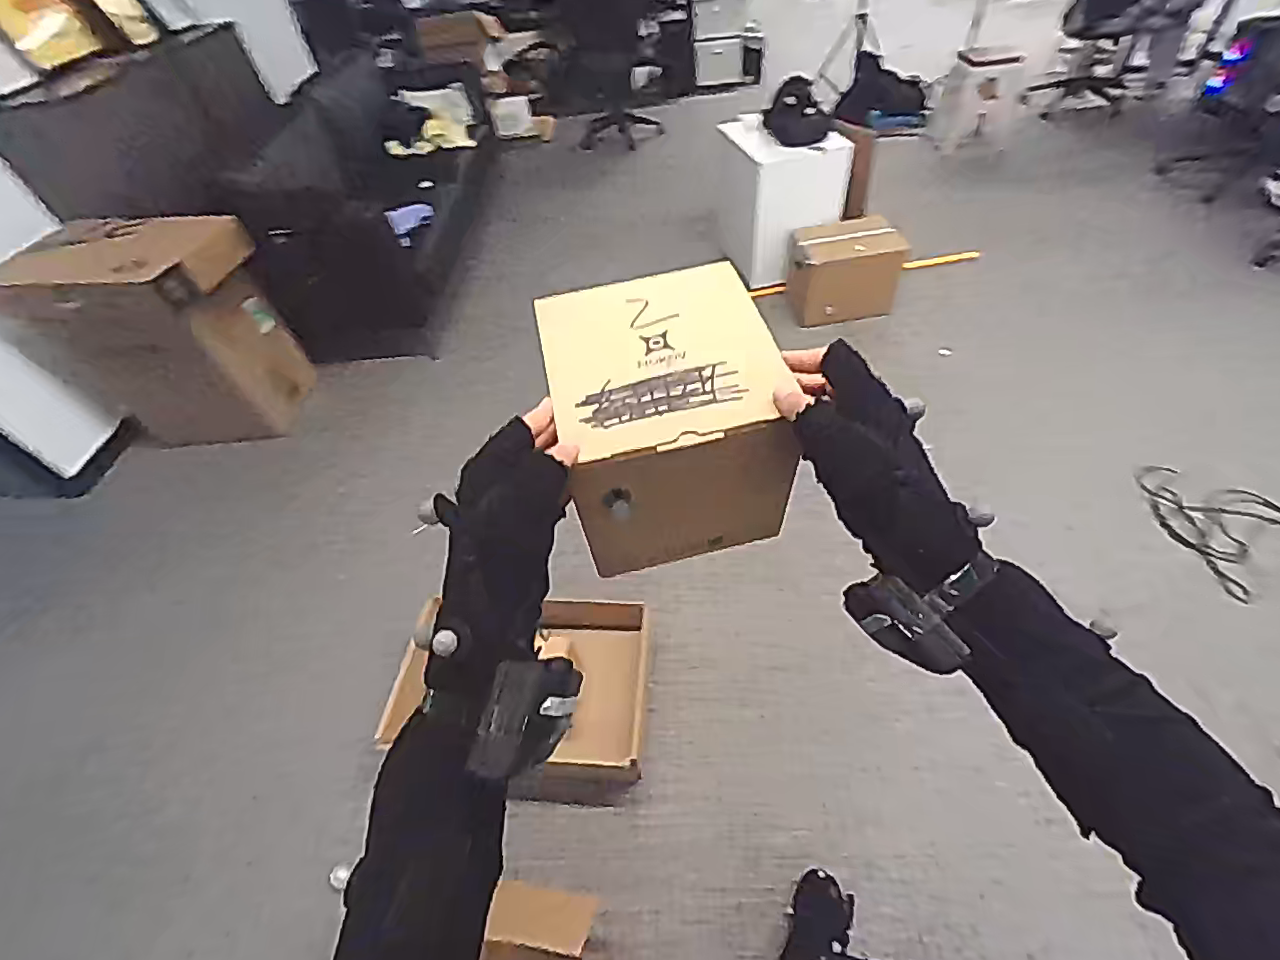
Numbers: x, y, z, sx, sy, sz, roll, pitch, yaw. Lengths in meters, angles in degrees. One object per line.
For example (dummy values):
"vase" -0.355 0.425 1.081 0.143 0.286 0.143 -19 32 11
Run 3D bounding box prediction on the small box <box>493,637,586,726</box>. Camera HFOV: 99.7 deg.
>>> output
"small box" -0.247 0.513 1.371 0.179 0.176 0.168 -1 49 8
